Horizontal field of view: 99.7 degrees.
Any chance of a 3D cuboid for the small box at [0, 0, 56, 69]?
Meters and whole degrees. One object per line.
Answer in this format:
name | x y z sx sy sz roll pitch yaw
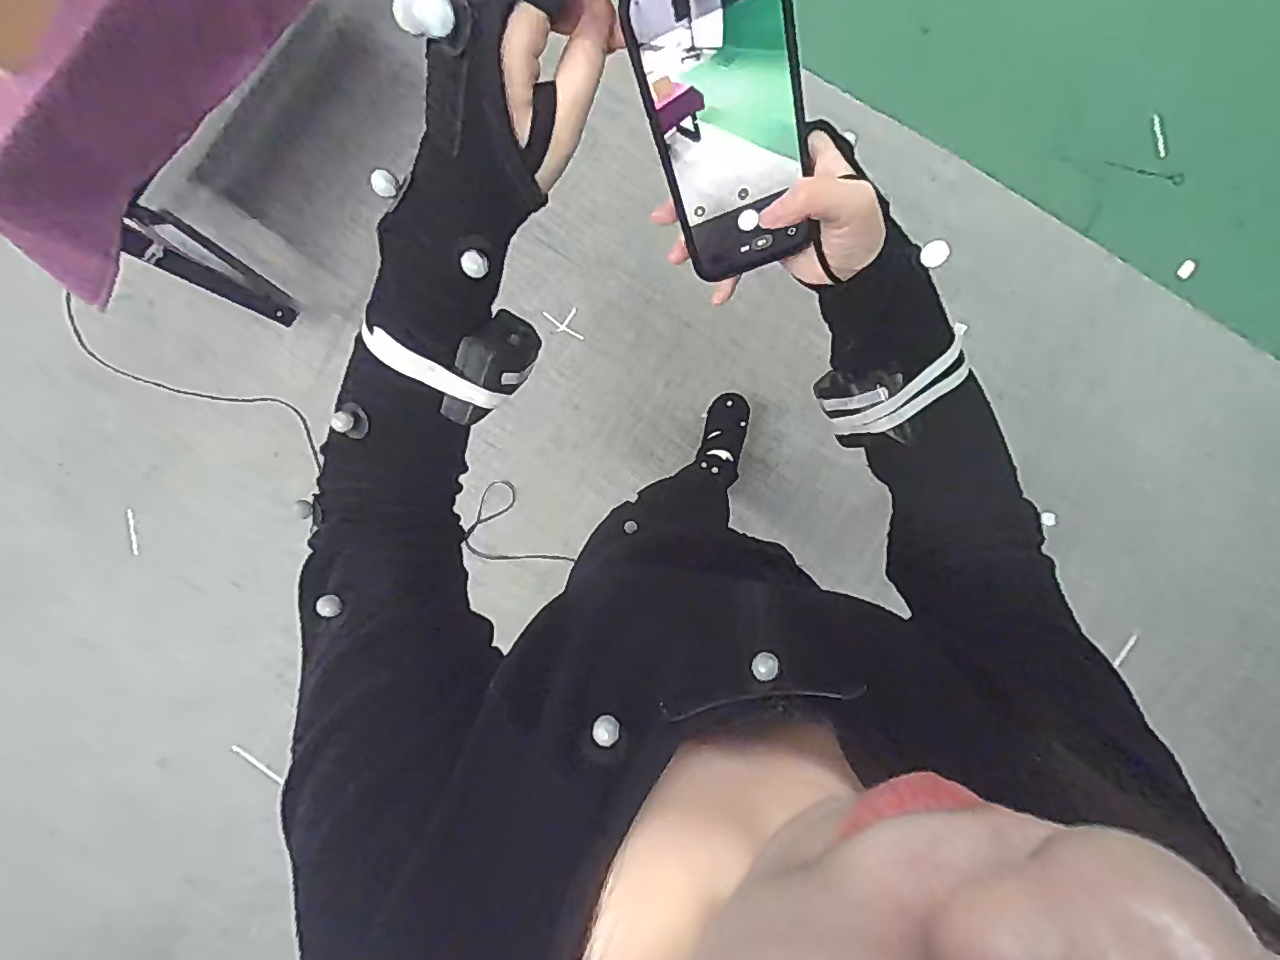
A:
small box | -1.035 -0.762 0.790 0.168 0.176 0.179 30 88 4
